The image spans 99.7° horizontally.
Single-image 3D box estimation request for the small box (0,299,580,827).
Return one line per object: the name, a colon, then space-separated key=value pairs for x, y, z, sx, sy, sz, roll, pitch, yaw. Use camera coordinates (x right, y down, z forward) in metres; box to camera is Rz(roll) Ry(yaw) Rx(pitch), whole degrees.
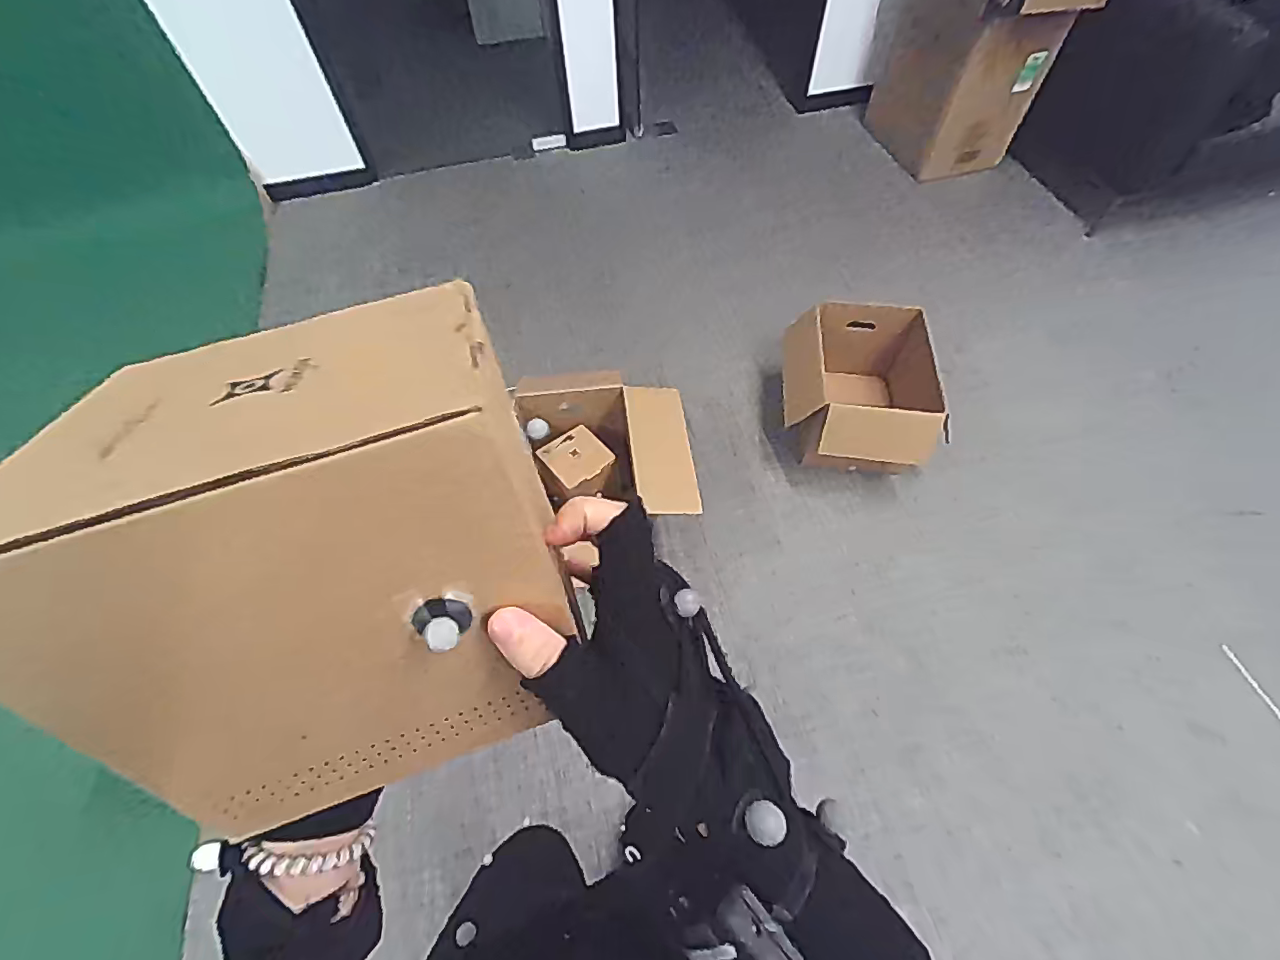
small box: x=-0.136 y=0.032 z=0.273 sx=0.179 sy=0.176 sz=0.168 roll=-18 pitch=35 yaw=-7
